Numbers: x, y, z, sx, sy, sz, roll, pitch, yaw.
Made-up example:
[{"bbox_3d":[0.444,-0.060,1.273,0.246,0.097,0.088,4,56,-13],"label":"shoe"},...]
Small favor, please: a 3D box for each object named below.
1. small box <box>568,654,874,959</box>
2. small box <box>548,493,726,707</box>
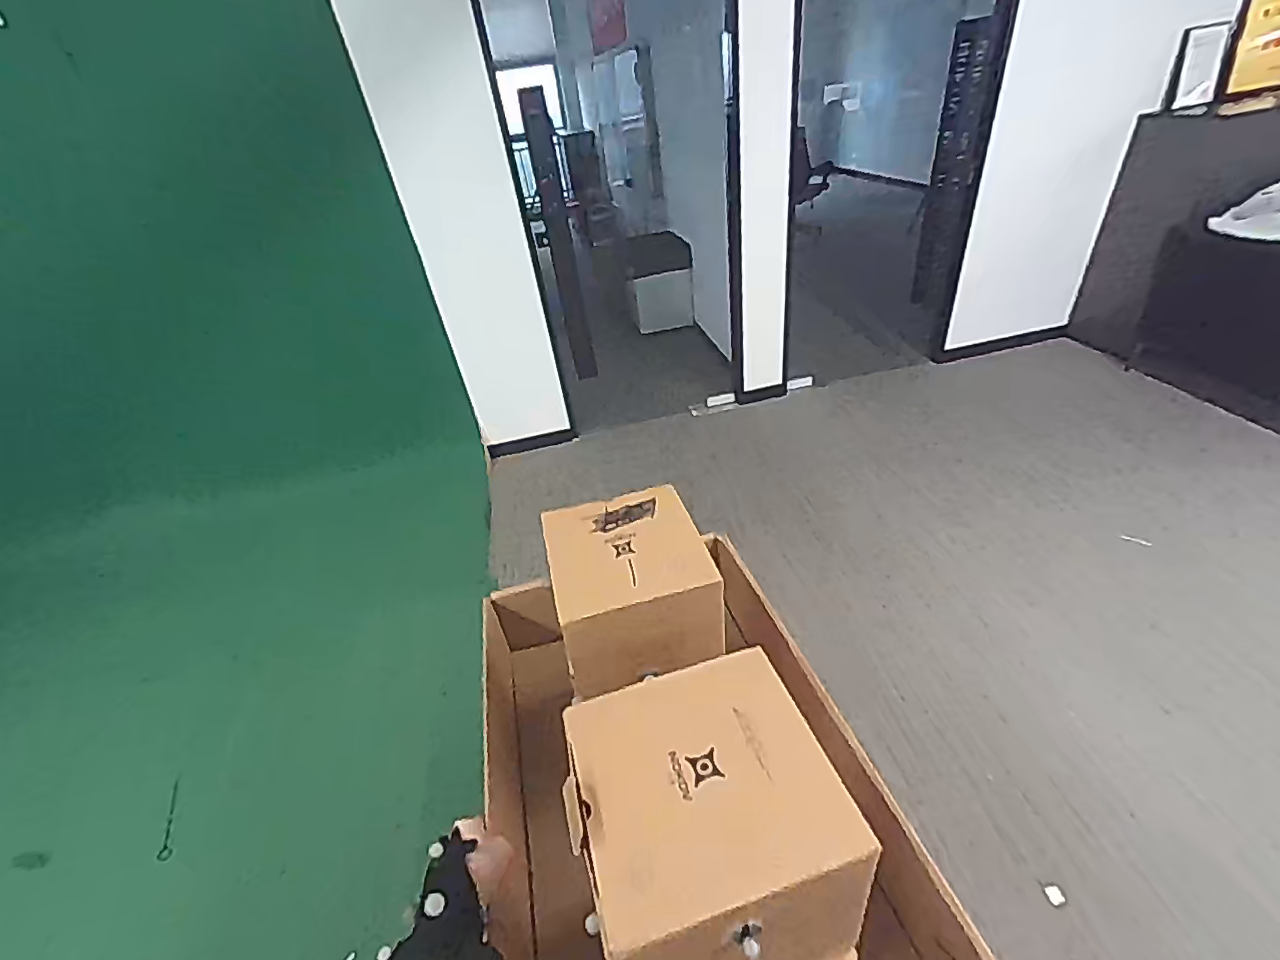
[{"bbox_3d":[0.054,0.277,0.428,0.179,0.176,0.168,-14,33,-10],"label":"small box"},{"bbox_3d":[-0.006,0.145,0.637,0.168,0.176,0.179,-14,35,-8],"label":"small box"}]
